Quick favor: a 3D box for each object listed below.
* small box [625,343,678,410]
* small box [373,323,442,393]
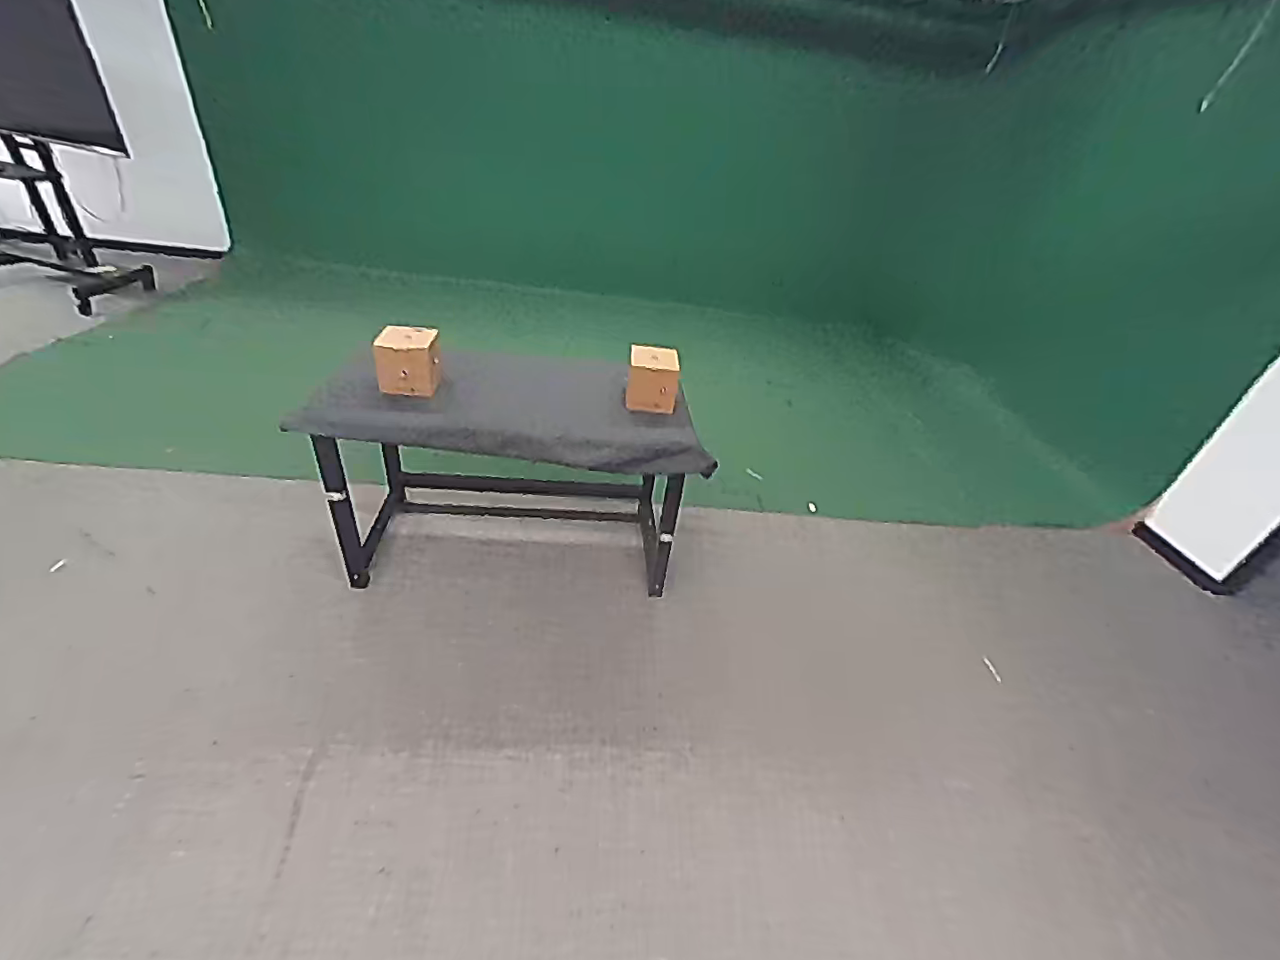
[{"bbox_3d":[0.038,-0.363,1.905,0.168,0.176,0.179,6,34,-5],"label":"small box"},{"bbox_3d":[-0.761,-0.402,1.791,0.168,0.176,0.179,3,36,-9],"label":"small box"}]
